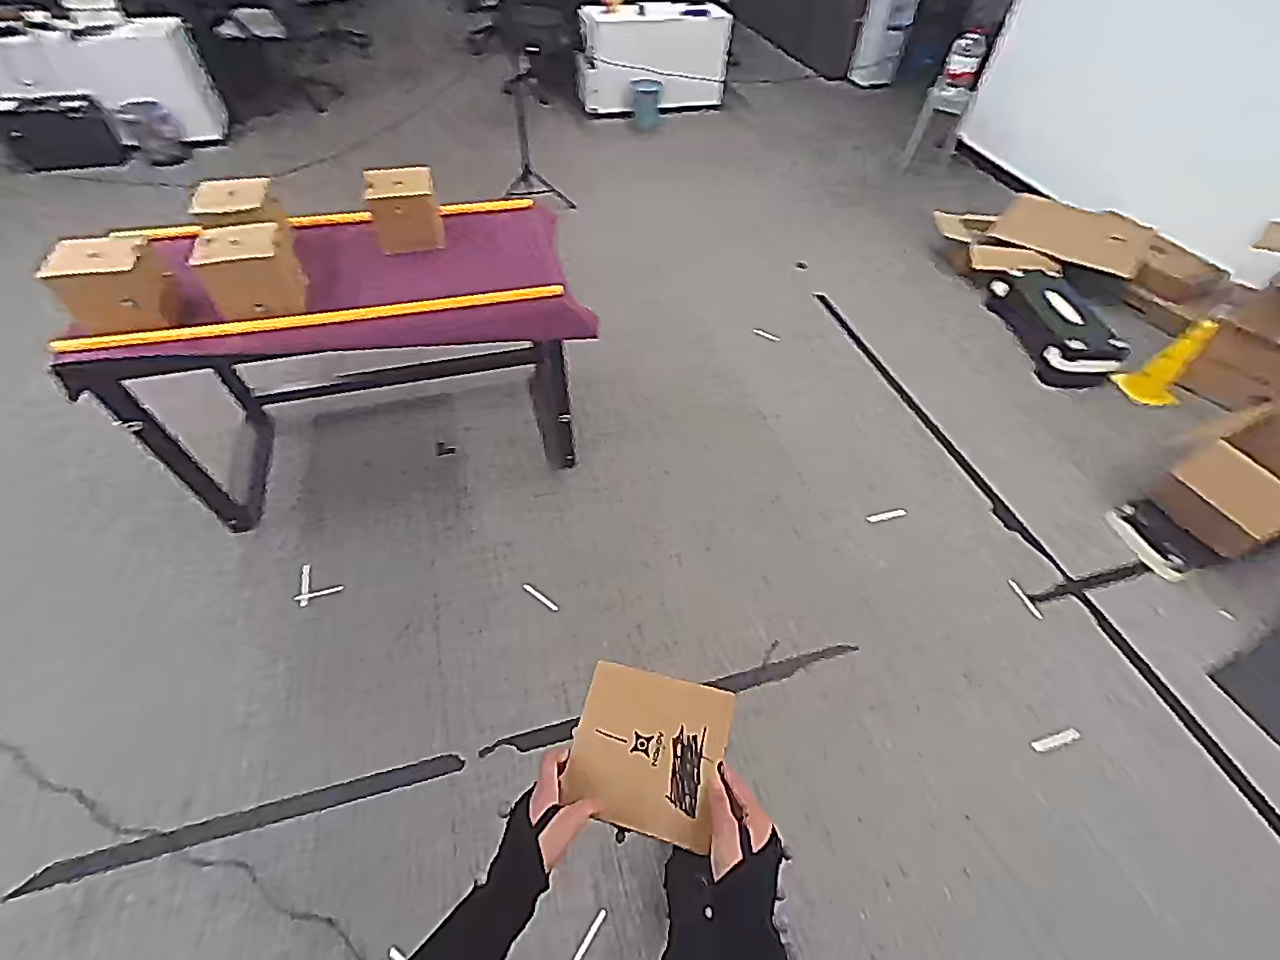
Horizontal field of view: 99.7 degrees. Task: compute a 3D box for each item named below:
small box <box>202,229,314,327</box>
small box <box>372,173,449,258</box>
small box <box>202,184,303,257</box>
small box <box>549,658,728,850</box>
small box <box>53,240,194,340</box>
[{"bbox_3d":[-0.963,-0.515,1.383,0.179,0.176,0.168,-11,53,-12],"label":"small box"},{"bbox_3d":[-0.675,-0.785,1.608,0.179,0.176,0.168,-11,54,-10],"label":"small box"},{"bbox_3d":[-1.084,-0.709,1.530,0.168,0.176,0.179,-11,55,-10],"label":"small box"},{"bbox_3d":[0.001,0.349,0.693,0.179,0.176,0.168,13,58,7],"label":"small box"},{"bbox_3d":[-1.248,-0.464,1.328,0.179,0.176,0.168,-10,52,-13],"label":"small box"}]
